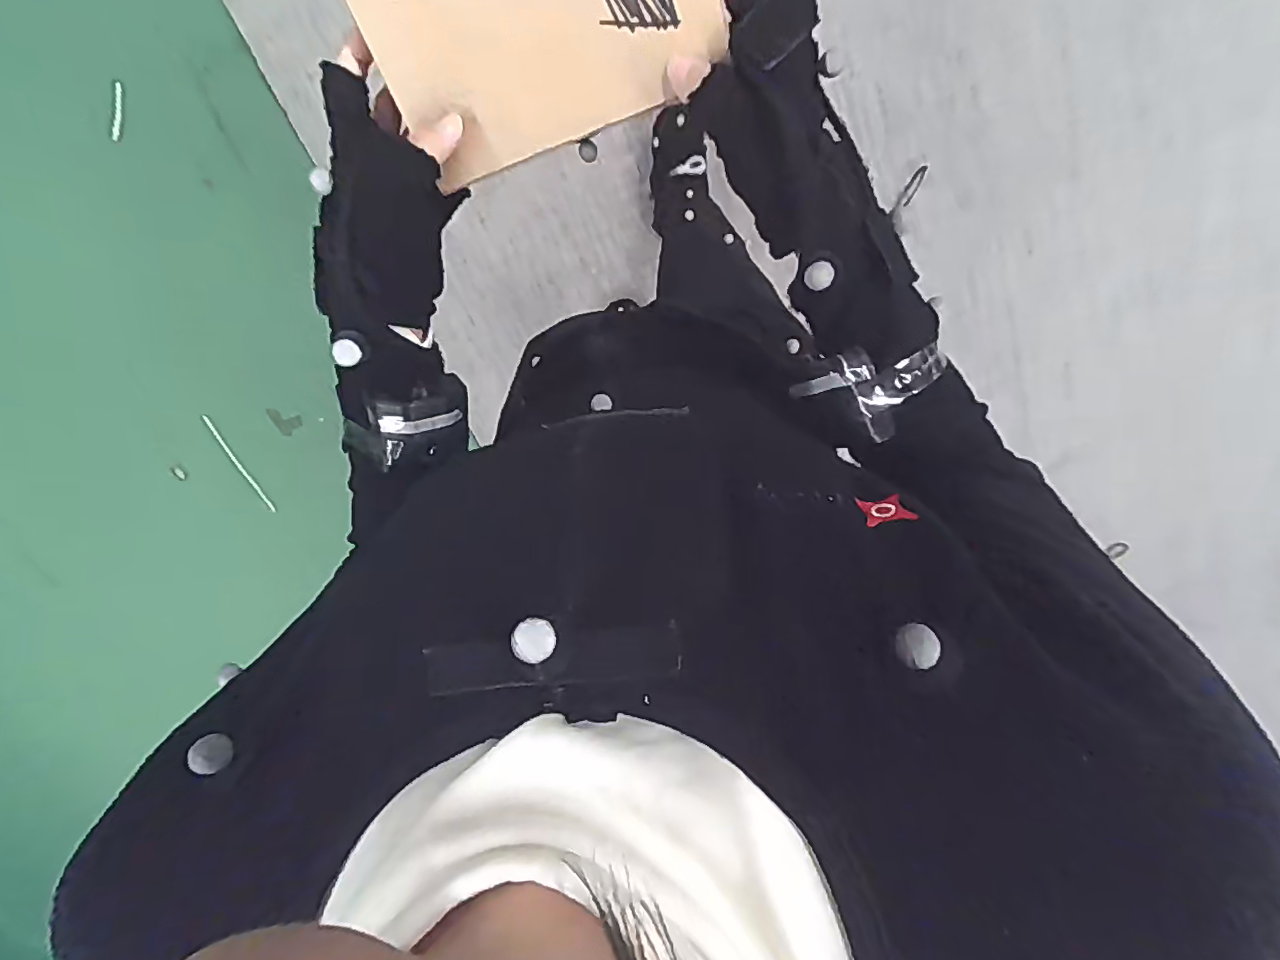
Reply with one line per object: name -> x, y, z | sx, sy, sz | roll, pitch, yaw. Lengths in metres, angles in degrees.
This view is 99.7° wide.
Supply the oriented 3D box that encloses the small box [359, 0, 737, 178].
small box -> -0.053, -0.303, 0.314 | 0.179, 0.176, 0.168 | -13, 124, 13
